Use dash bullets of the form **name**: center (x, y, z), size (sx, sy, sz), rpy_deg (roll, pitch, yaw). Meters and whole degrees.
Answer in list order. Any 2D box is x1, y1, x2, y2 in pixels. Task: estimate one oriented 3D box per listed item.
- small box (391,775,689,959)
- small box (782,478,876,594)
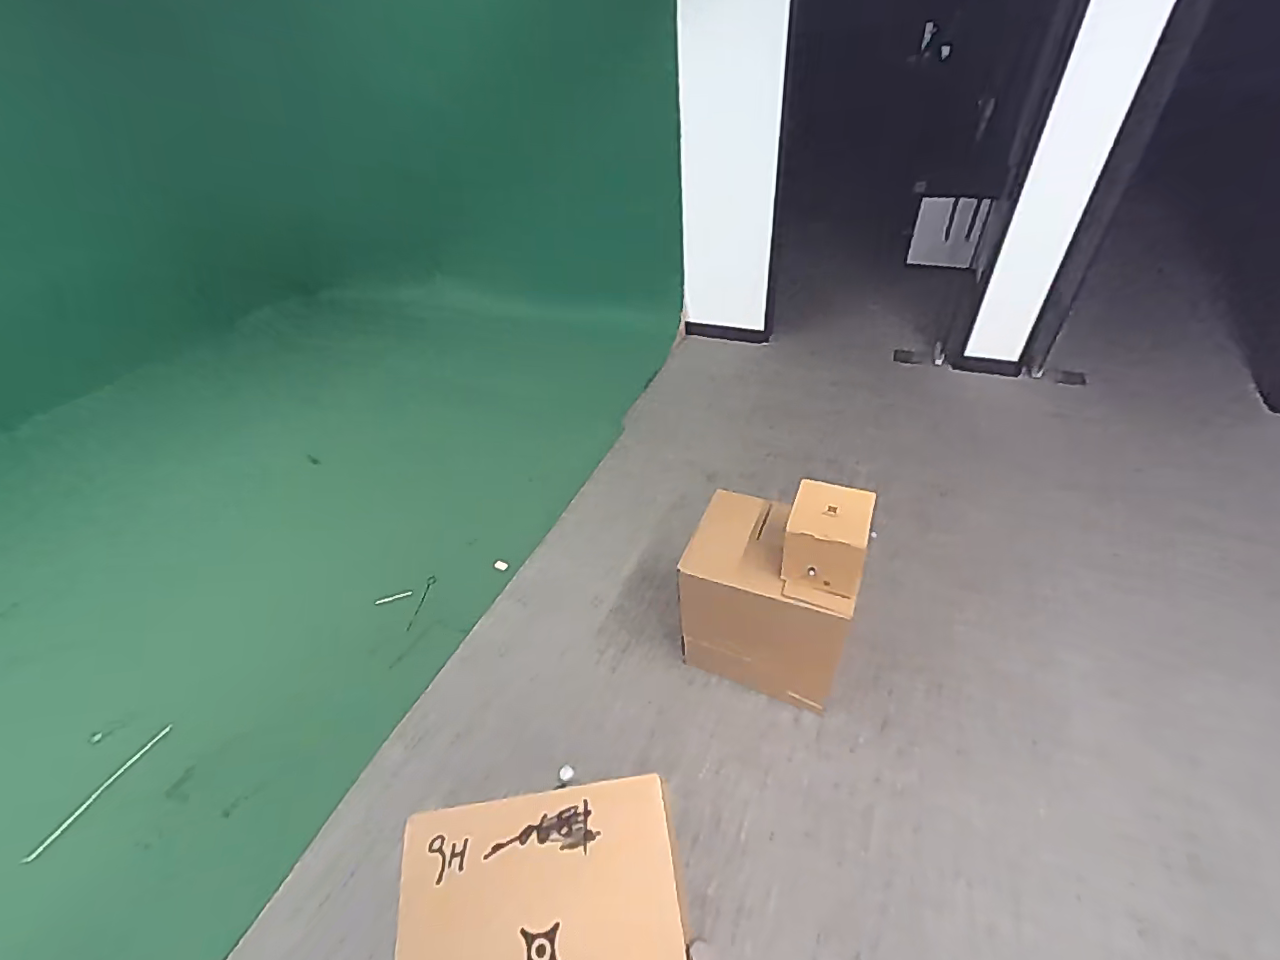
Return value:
- **small box**: center (-0.054, 0.313, 0.371), size (0.168, 0.176, 0.179), rpy_deg (-8, 58, 0)
- **small box**: center (0.426, 0.127, 1.231), size (0.168, 0.176, 0.179), rpy_deg (12, 45, 21)
